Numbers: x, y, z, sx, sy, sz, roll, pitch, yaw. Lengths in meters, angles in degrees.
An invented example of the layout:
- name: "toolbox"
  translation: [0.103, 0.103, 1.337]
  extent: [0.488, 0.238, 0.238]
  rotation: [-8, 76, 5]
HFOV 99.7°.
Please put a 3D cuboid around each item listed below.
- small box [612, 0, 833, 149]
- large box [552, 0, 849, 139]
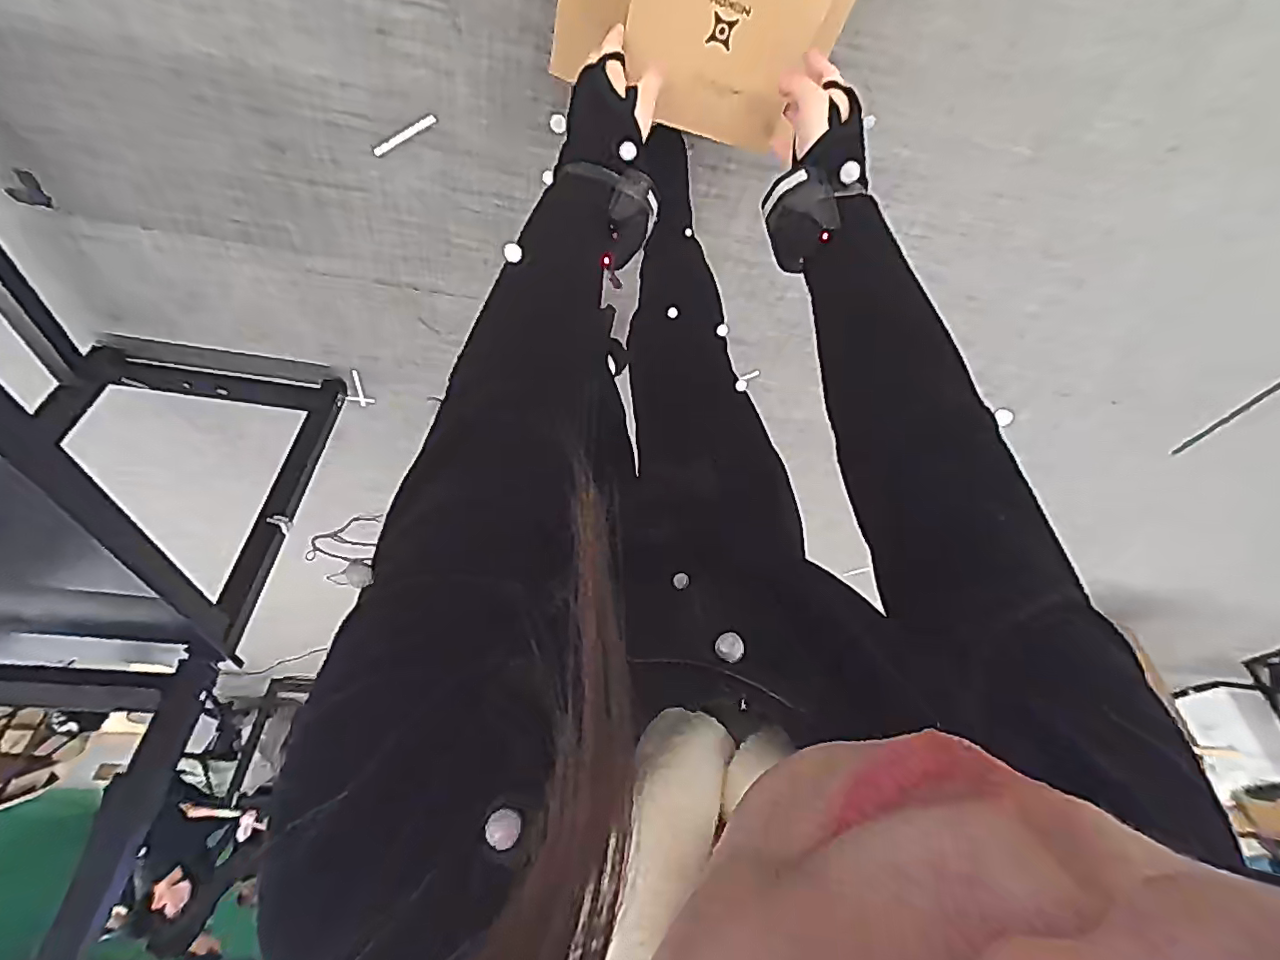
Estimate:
- name: "small box"
  translation: [0.072, -0.461, 0.508]
  extent: [0.168, 0.176, 0.179]
  rotation: [10, 143, -14]
- name: "large box"
  translation: [0.093, -0.695, 0.606]
  extent: [0.320, 0.320, 0.408]
  rotation: [9, 142, -14]
